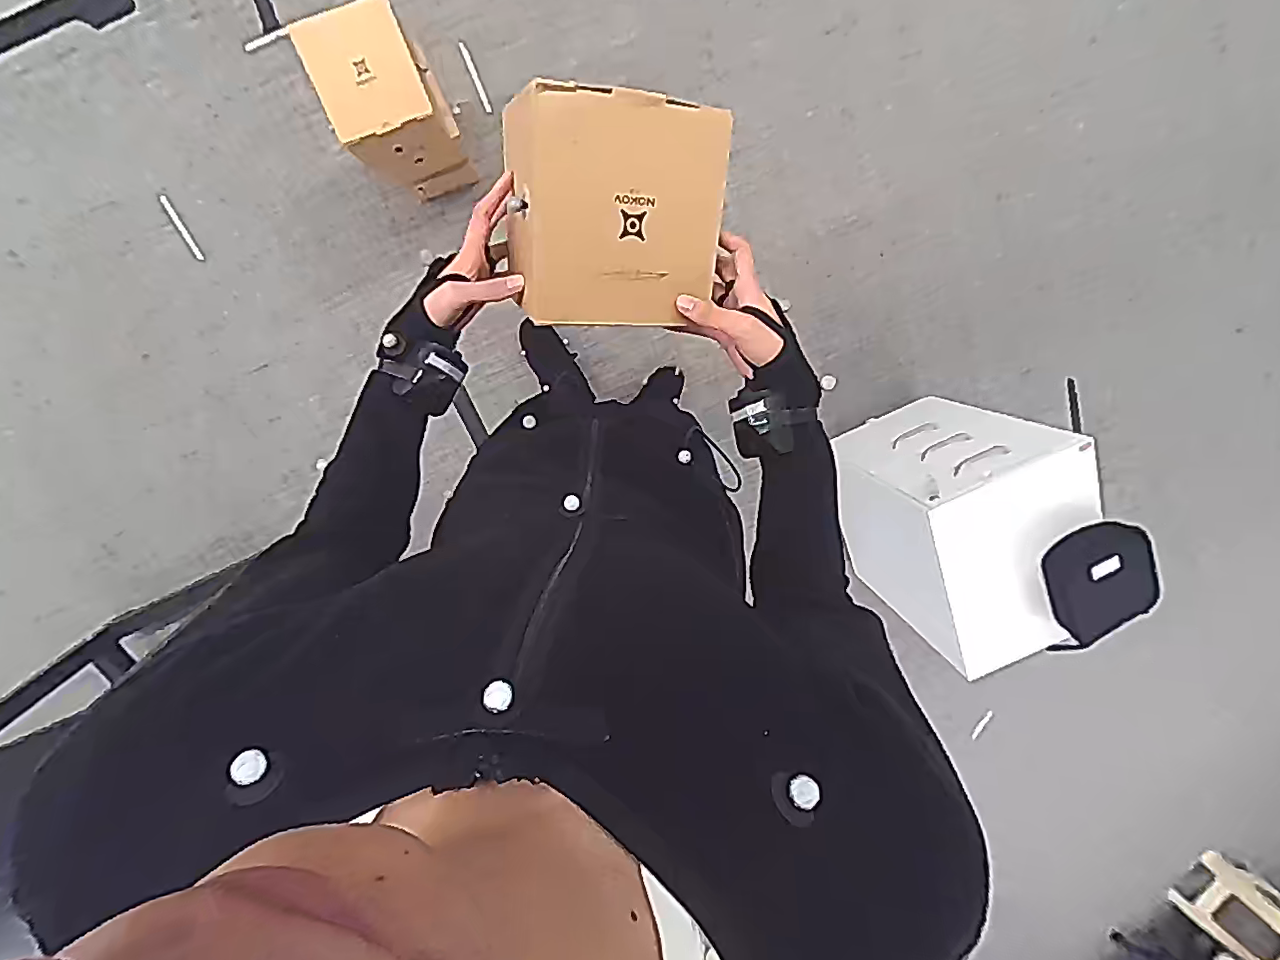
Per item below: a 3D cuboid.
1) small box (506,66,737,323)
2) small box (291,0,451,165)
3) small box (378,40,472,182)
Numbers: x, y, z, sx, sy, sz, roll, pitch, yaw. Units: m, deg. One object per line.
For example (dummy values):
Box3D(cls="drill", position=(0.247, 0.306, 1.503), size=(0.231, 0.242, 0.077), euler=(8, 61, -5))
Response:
Box3D(cls="small box", position=(-0.032, -0.252, 0.508), size=(0.168, 0.176, 0.179), euler=(-5, 118, -20))
Box3D(cls="small box", position=(-0.453, -0.686, 0.943), size=(0.168, 0.176, 0.179), euler=(-21, 111, -2))
Box3D(cls="small box", position=(-0.465, -0.734, 1.098), size=(0.179, 0.176, 0.168), euler=(-23, 110, -2))
